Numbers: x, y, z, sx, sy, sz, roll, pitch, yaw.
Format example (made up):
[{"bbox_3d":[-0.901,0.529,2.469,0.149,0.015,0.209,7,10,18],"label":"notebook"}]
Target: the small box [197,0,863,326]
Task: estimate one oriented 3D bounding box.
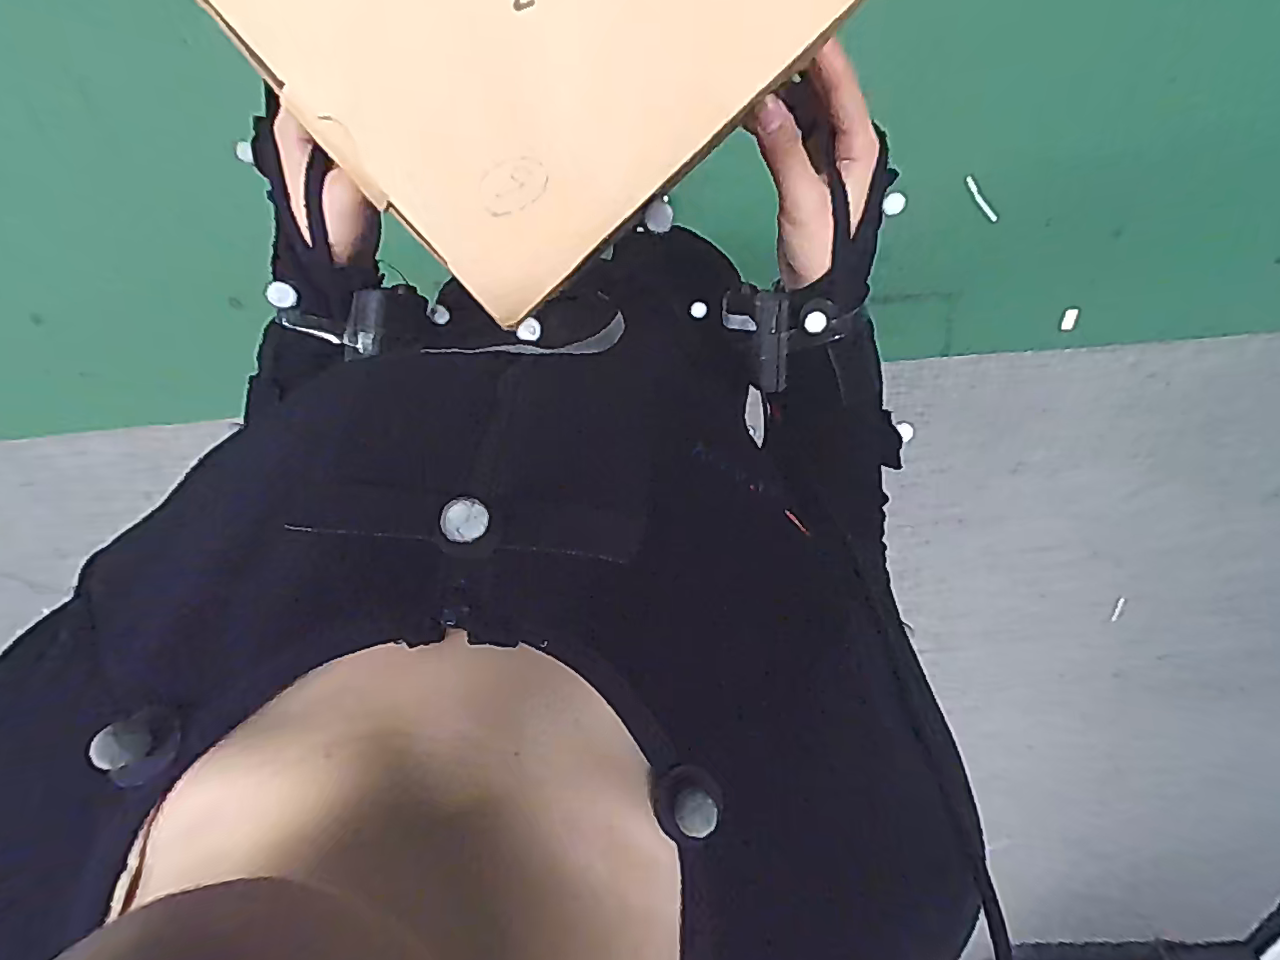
[{"bbox_3d":[-0.036,-0.197,0.234,0.179,0.176,0.168,-36,109,18],"label":"small box"}]
